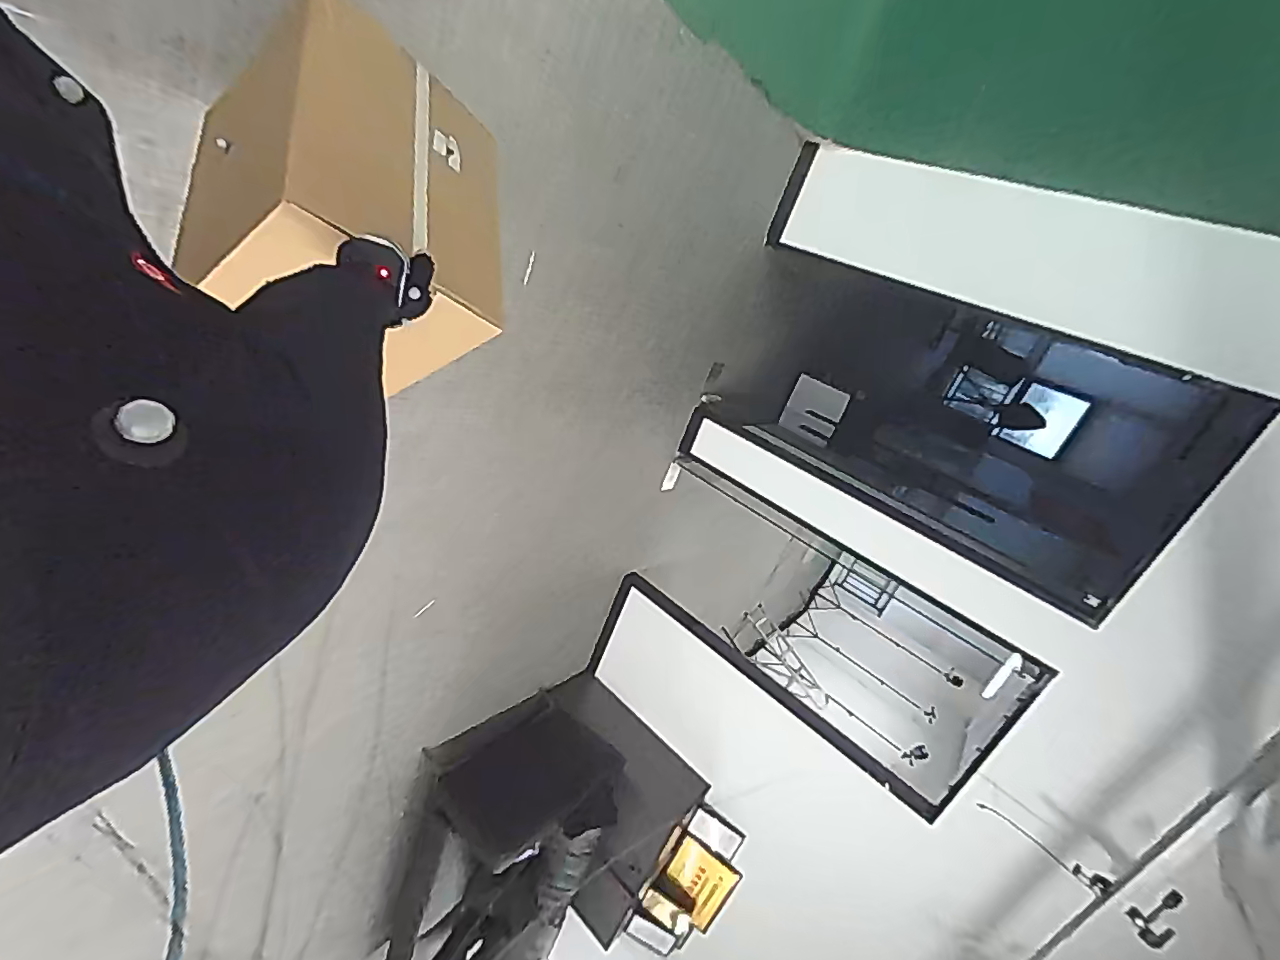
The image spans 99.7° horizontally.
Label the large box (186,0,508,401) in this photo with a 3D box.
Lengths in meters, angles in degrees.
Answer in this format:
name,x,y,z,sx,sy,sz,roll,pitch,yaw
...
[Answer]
name,x,y,z,sx,sy,sz,roll,pitch,yaw
large box,-0.434,-0.392,0.835,0.320,0.408,0.320,-19,157,28
